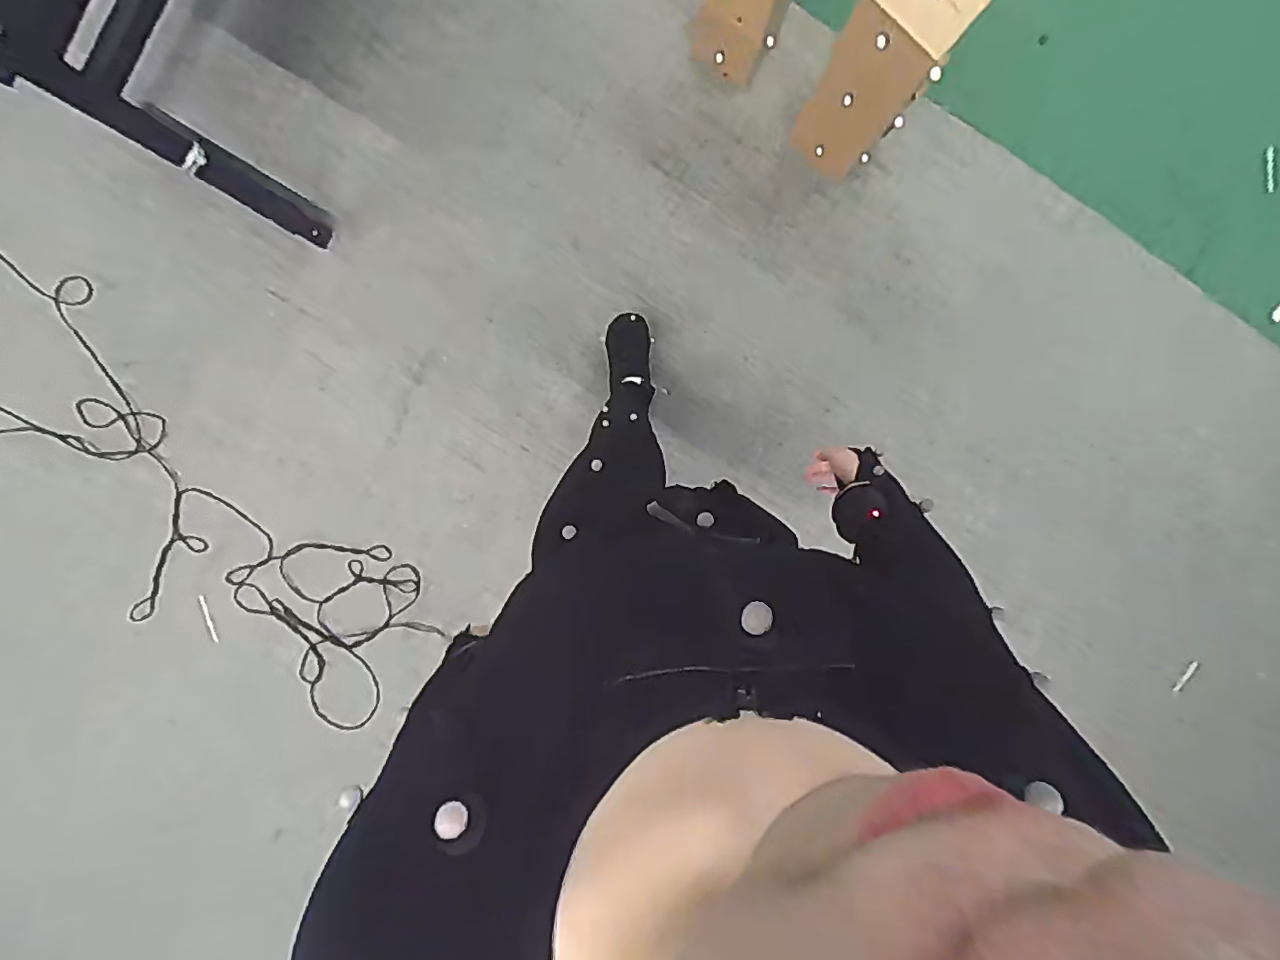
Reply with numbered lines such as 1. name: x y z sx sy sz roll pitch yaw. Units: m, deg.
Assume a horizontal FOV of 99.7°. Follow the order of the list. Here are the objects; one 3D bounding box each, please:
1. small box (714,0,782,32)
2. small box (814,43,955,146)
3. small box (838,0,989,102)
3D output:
1. small box: 0.245 -1.091 1.111 0.168 0.176 0.179 31 94 -3
2. small box: 0.498 -0.854 1.134 0.179 0.176 0.168 43 95 -4
3. small box: 0.492 -0.839 0.971 0.179 0.176 0.168 41 95 -4
